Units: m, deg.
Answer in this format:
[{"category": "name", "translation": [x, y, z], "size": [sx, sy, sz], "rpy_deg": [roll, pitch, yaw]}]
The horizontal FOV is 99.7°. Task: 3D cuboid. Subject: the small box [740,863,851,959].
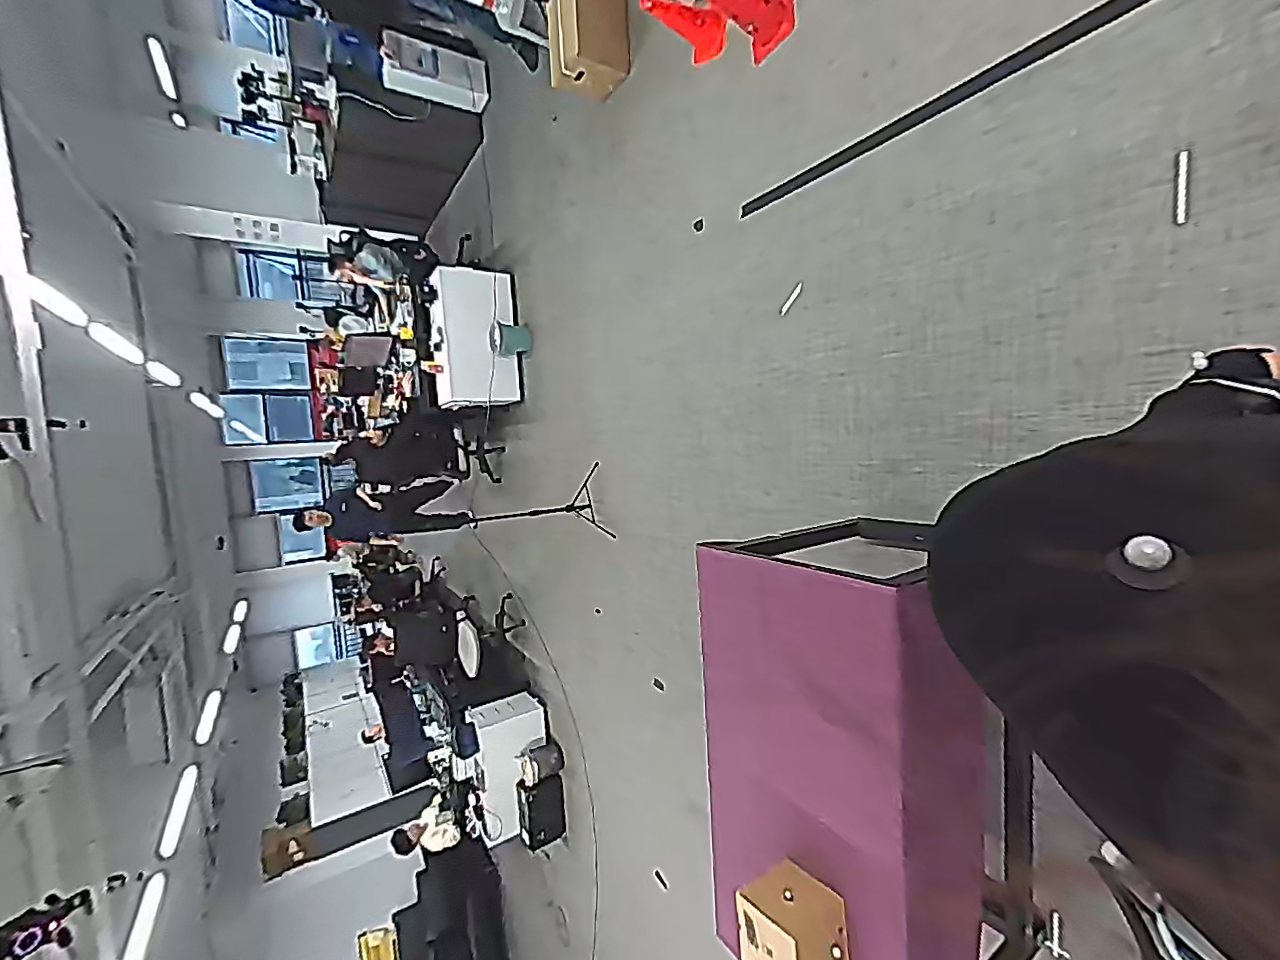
[{"category": "small box", "translation": [0.356, 1.027, 1.241], "size": [0.179, 0.176, 0.168], "rpy_deg": [-4, 93, 57]}]
